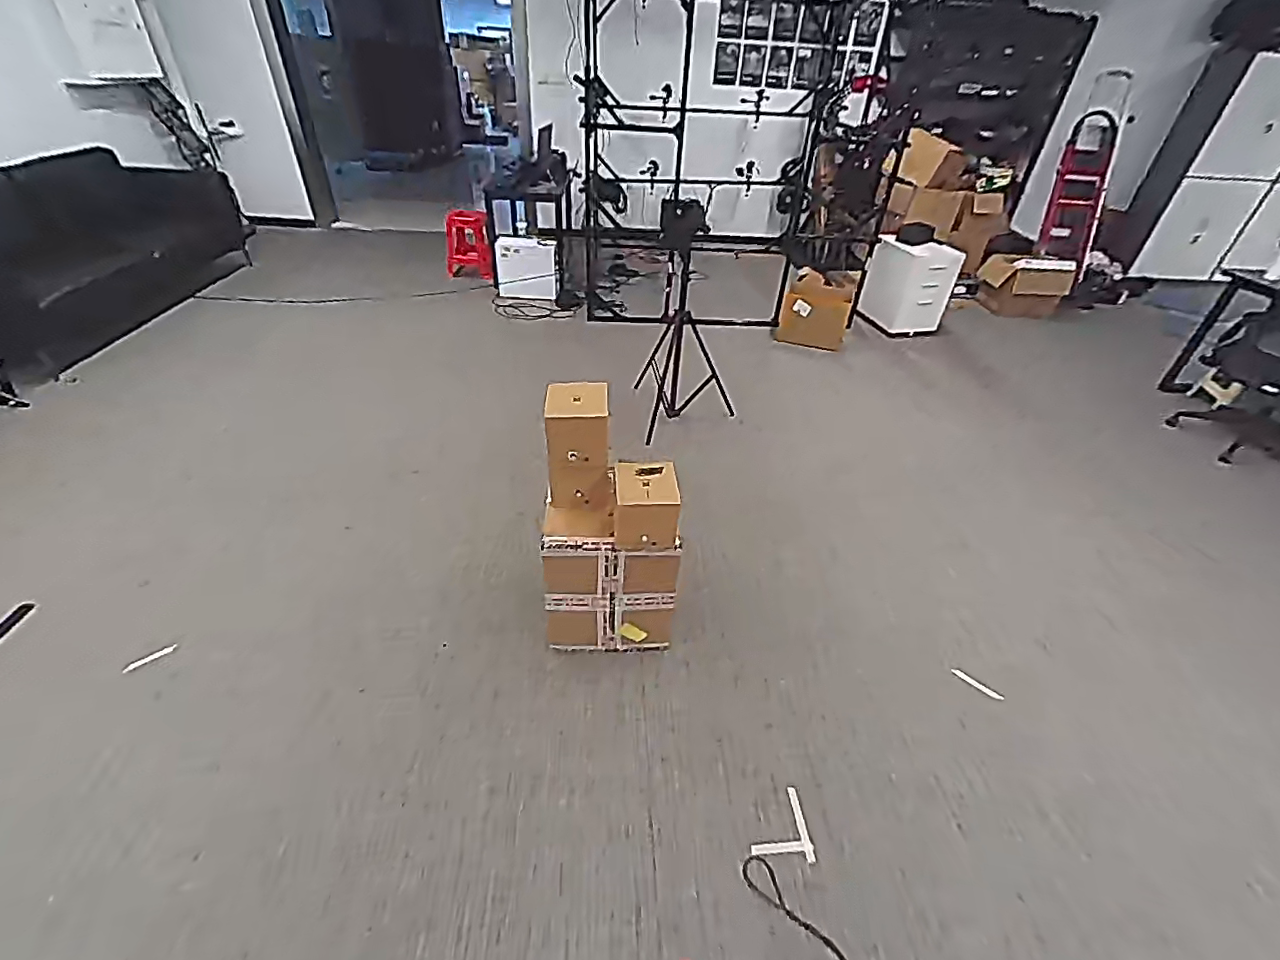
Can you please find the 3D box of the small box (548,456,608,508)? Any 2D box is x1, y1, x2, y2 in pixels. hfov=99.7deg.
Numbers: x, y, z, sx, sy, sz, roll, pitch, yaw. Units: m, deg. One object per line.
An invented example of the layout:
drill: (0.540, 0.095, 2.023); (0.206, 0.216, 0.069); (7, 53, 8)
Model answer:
small box: (-0.181, -0.035, 1.613); (0.168, 0.176, 0.179); (-1, 40, -3)

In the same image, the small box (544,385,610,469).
small box: (-0.170, -0.147, 1.494); (0.168, 0.176, 0.179); (-2, 41, -3)

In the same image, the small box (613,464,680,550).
small box: (0.011, 0.074, 1.493); (0.168, 0.176, 0.179); (-1, 41, -6)
